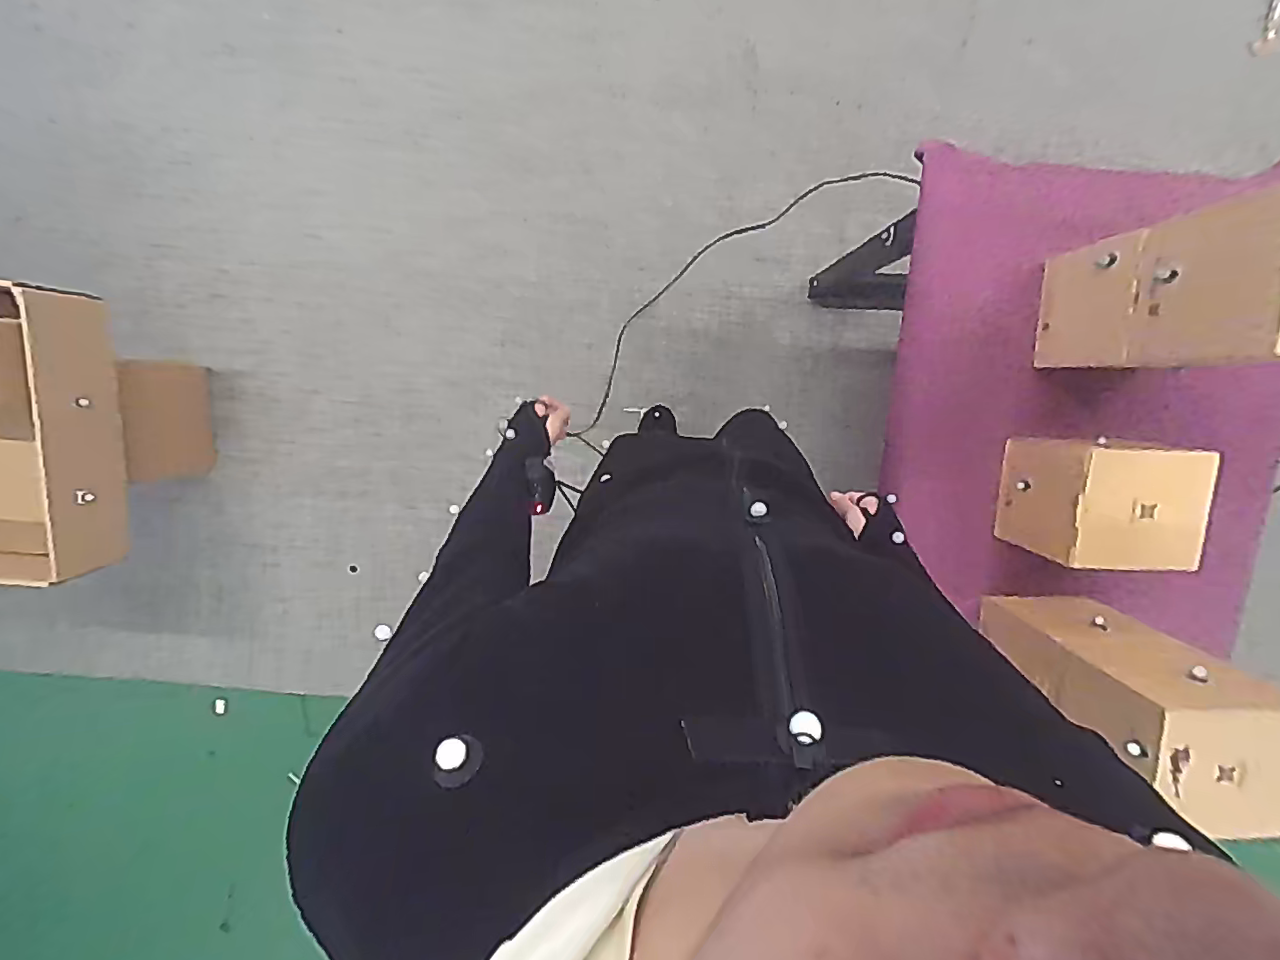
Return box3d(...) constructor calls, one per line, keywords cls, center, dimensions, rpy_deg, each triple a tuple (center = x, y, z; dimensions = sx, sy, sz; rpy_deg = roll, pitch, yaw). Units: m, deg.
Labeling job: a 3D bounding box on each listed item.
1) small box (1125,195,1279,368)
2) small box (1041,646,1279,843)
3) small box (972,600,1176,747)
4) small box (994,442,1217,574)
box3d(cls="small box", center=(0.709, -0.214, 0.601), dimensions=(0.179, 0.176, 0.168), rpy_deg=(1, 99, 0))
box3d(cls="small box", center=(0.666, 0.323, 0.689), dimensions=(0.179, 0.176, 0.168), rpy_deg=(-1, 98, 0))
box3d(cls="small box", center=(0.666, 0.296, 0.851), dimensions=(0.179, 0.176, 0.168), rpy_deg=(1, 99, 1))
box3d(cls="small box", center=(0.679, 0.034, 0.811), dimensions=(0.179, 0.176, 0.168), rpy_deg=(1, 99, 1))
